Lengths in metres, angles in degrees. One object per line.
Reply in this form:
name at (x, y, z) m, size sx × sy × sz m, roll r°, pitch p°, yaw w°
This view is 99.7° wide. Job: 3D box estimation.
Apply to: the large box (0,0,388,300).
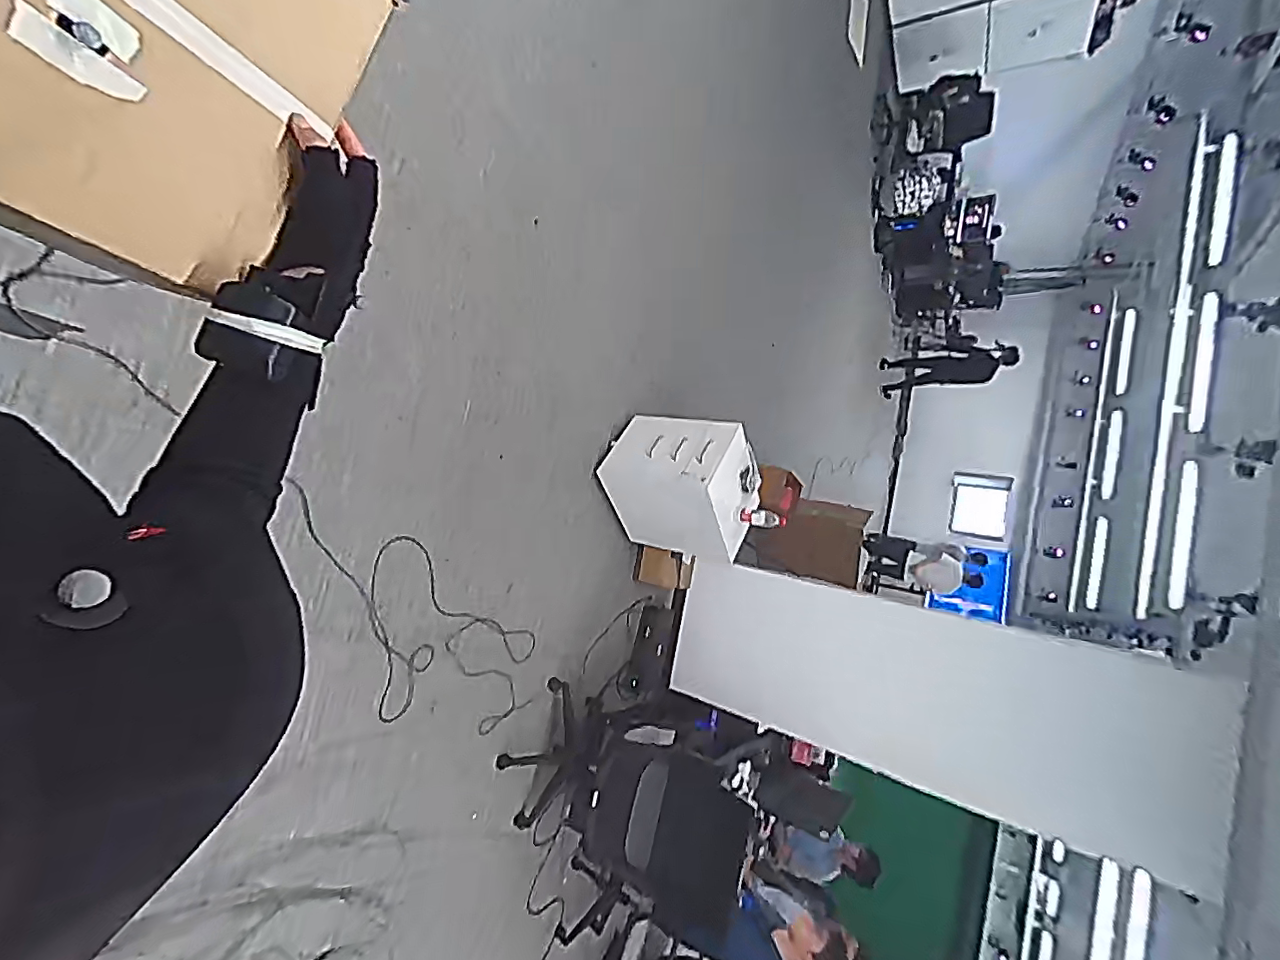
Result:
large box at (-0.481, -0.375, 0.370) m, size 0.408 × 0.320 × 0.320 m, roll 27°, pitch 85°, yaw -57°
